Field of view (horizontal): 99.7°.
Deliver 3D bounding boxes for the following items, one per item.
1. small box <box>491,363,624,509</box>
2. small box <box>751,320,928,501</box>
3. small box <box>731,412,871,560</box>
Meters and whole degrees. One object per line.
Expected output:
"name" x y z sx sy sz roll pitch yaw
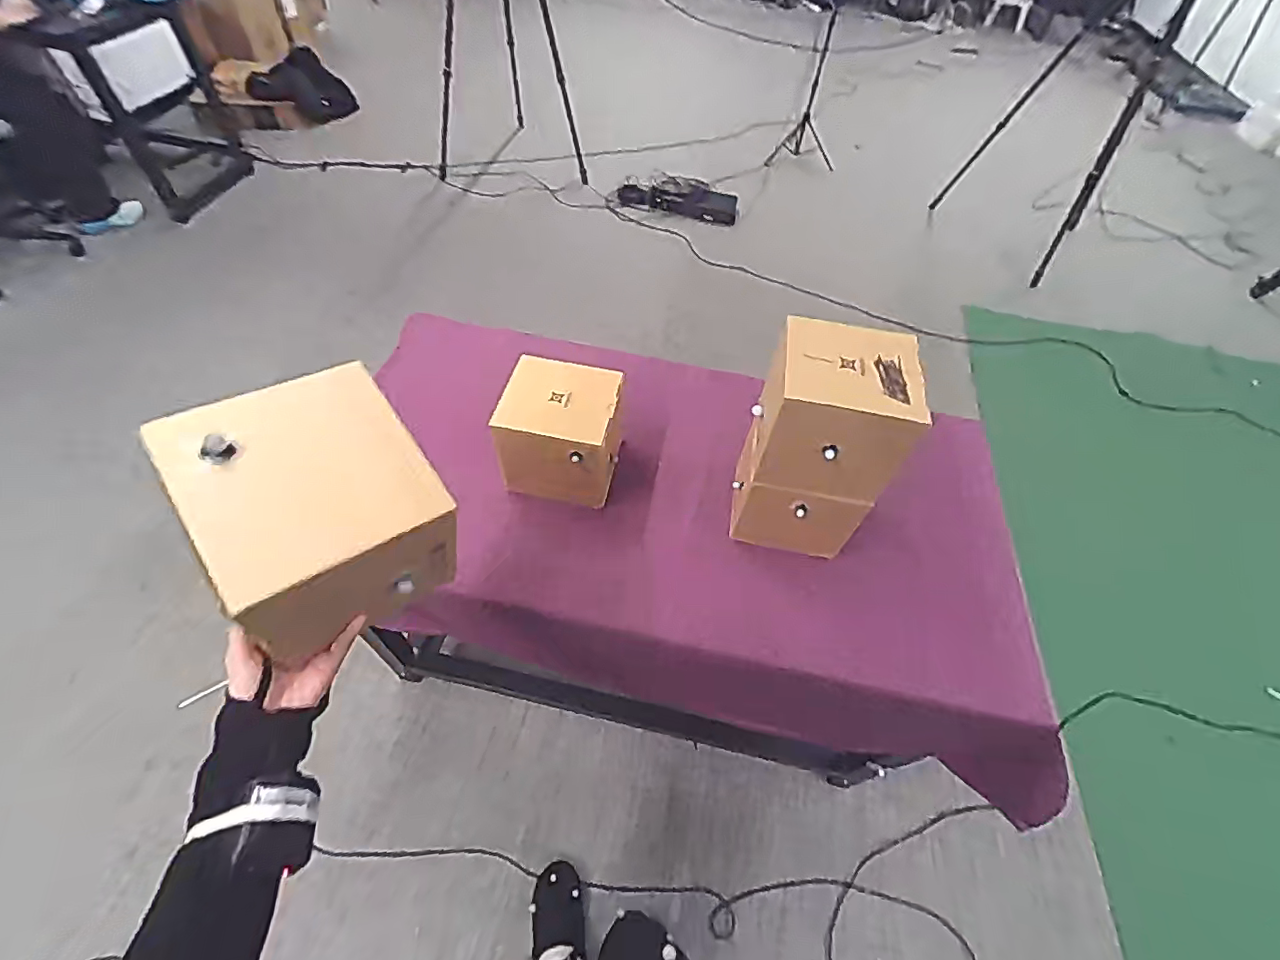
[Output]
"small box" -0.130 -0.069 0.909 0.179 0.176 0.168 11 52 2
"small box" 0.263 -0.090 0.748 0.179 0.176 0.168 11 53 4
"small box" 0.253 0.011 0.877 0.179 0.176 0.168 12 53 4
